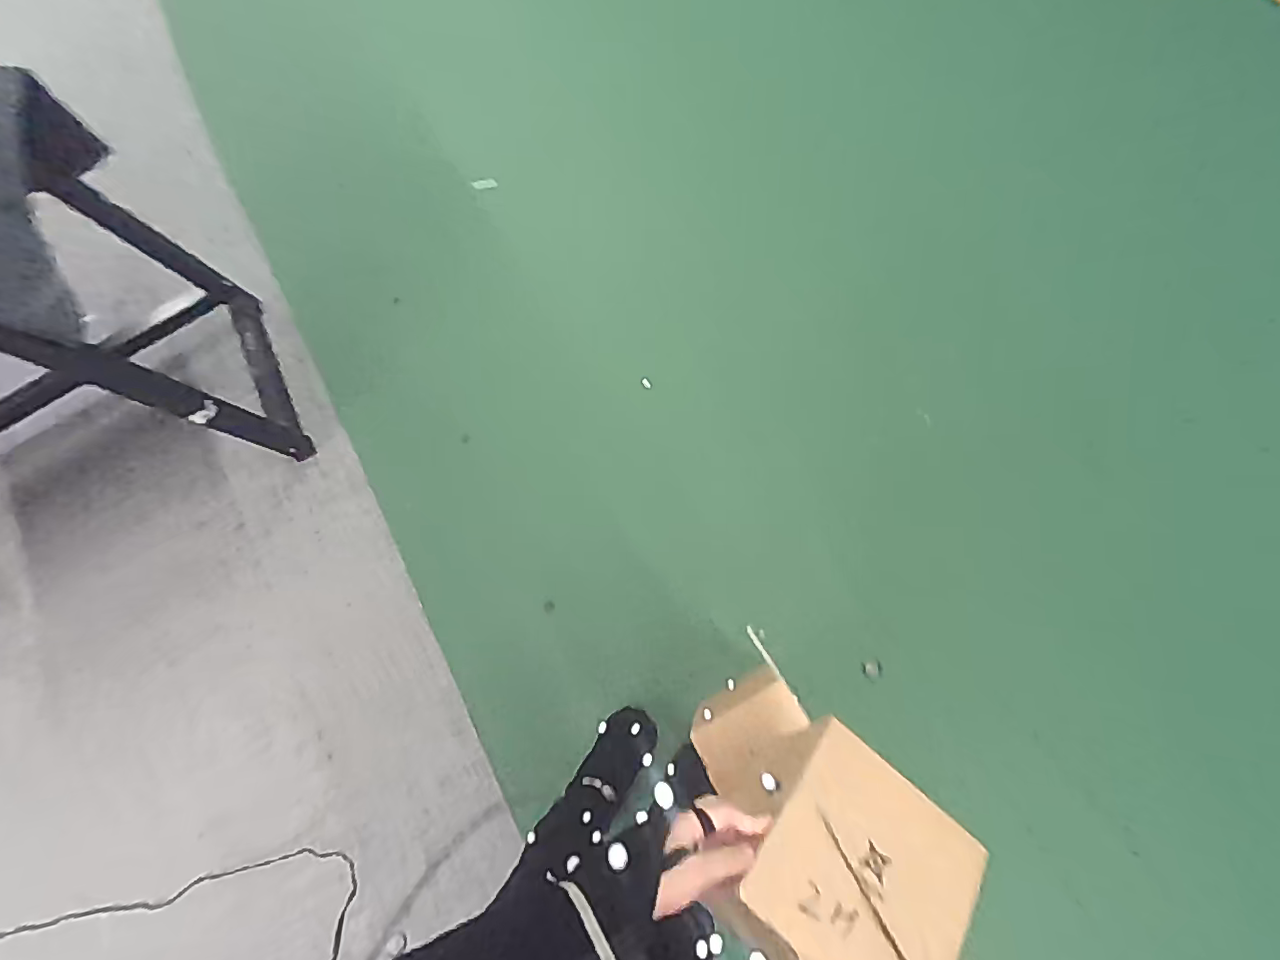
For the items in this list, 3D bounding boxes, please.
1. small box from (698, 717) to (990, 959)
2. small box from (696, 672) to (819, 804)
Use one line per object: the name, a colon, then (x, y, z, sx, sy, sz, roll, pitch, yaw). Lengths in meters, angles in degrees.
small box: (0.177, 0.362, 0.510, 0.168, 0.176, 0.179, 38, 59, 14)
small box: (0.212, 0.448, 0.922, 0.179, 0.176, 0.168, -33, 74, 1)
